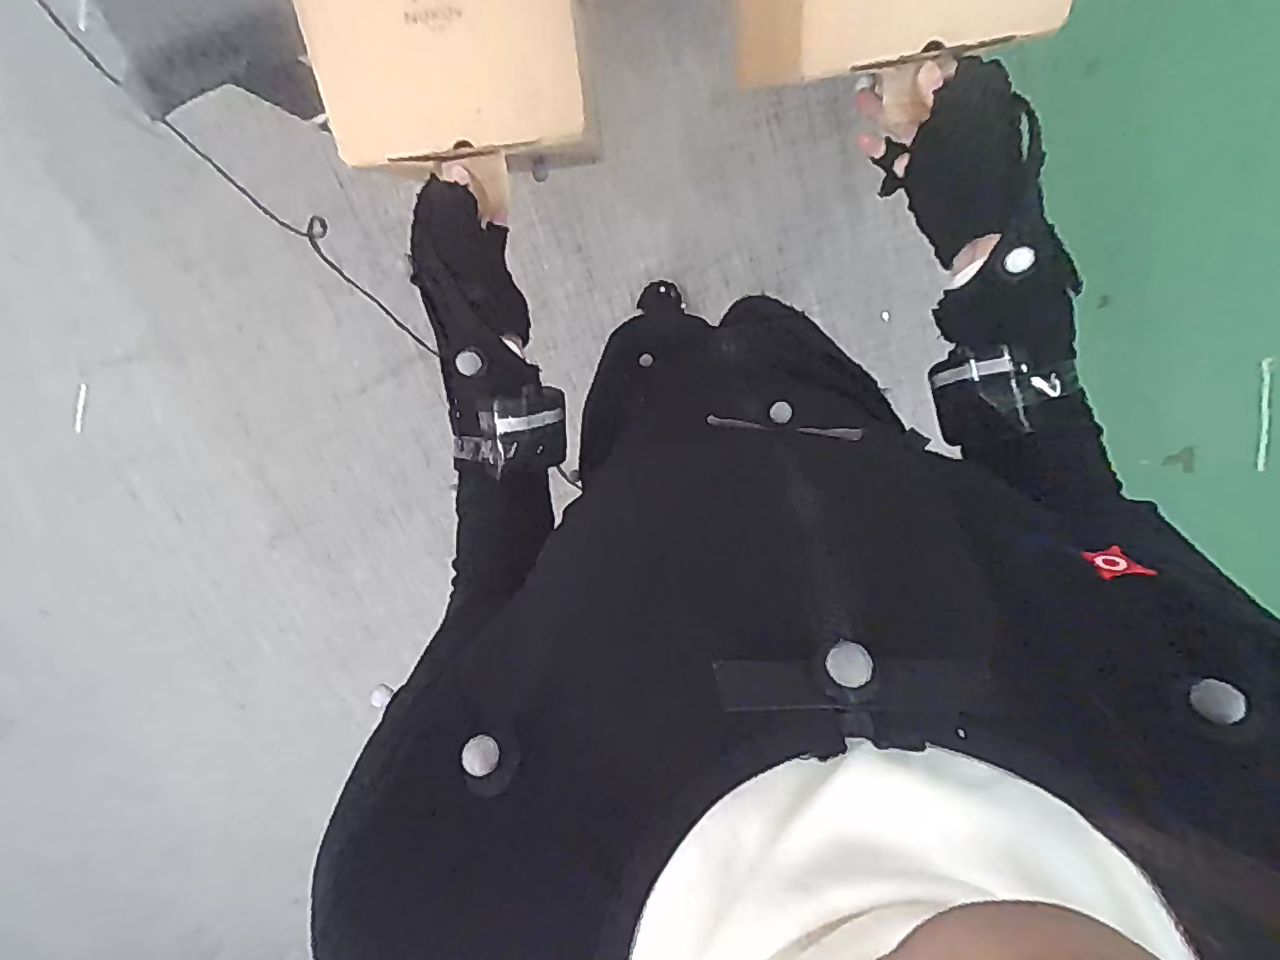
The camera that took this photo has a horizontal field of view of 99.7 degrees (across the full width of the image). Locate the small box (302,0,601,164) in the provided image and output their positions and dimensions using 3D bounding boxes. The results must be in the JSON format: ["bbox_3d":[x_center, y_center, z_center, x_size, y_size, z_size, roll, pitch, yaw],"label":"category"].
[{"bbox_3d":[-0.123,-0.338,0.389,0.168,0.176,0.179,-6,115,2],"label":"small box"}]

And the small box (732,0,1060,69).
[{"bbox_3d":[0.158,-0.388,0.353,0.168,0.176,0.179,-11,125,-1],"label":"small box"}]
